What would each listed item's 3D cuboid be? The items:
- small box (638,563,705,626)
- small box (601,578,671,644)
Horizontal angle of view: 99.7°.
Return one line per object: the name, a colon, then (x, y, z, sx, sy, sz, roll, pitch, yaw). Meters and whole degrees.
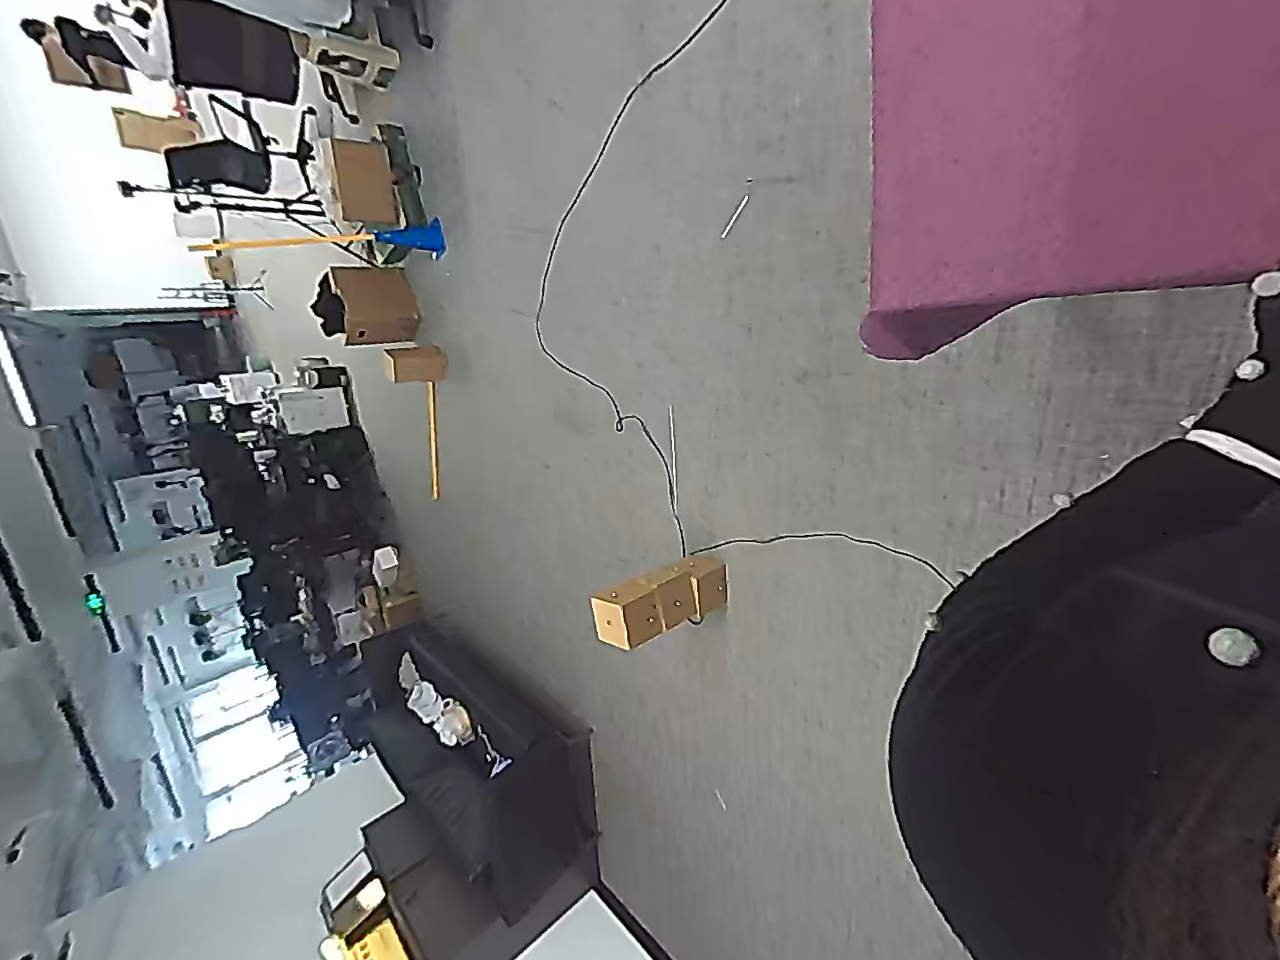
small box: (0.120, 0.425, 2.035, 0.168, 0.176, 0.179, -4, 101, 51)
small box: (-0.012, 0.463, 1.946, 0.179, 0.176, 0.168, 1, 104, 50)
